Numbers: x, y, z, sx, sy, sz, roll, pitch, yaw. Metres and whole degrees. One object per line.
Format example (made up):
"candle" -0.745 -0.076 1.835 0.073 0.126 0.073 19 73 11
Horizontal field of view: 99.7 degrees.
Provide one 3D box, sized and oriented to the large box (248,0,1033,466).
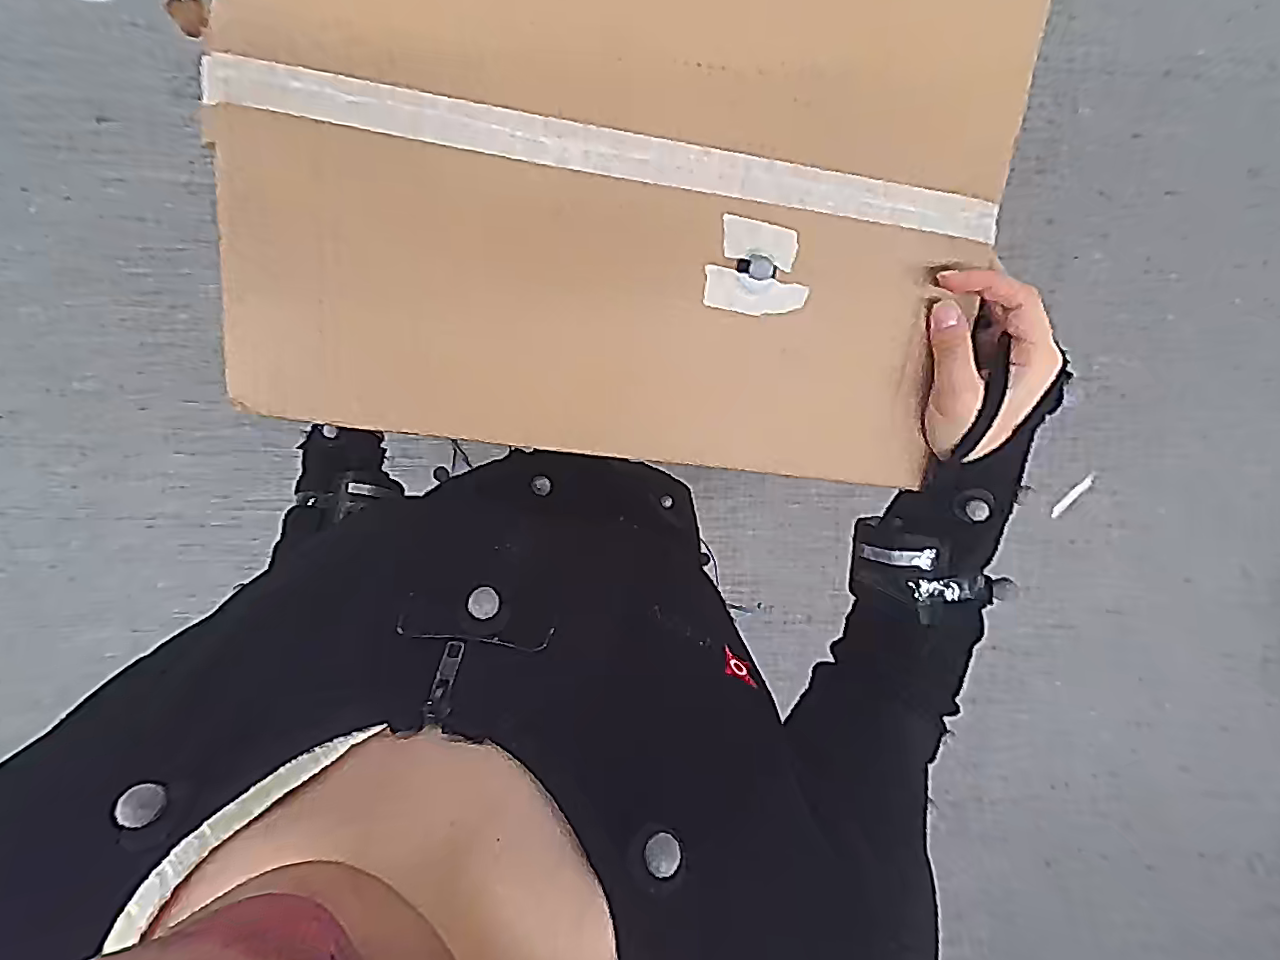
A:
"large box" -0.014 -0.205 0.433 0.408 0.320 0.320 6 103 -10
